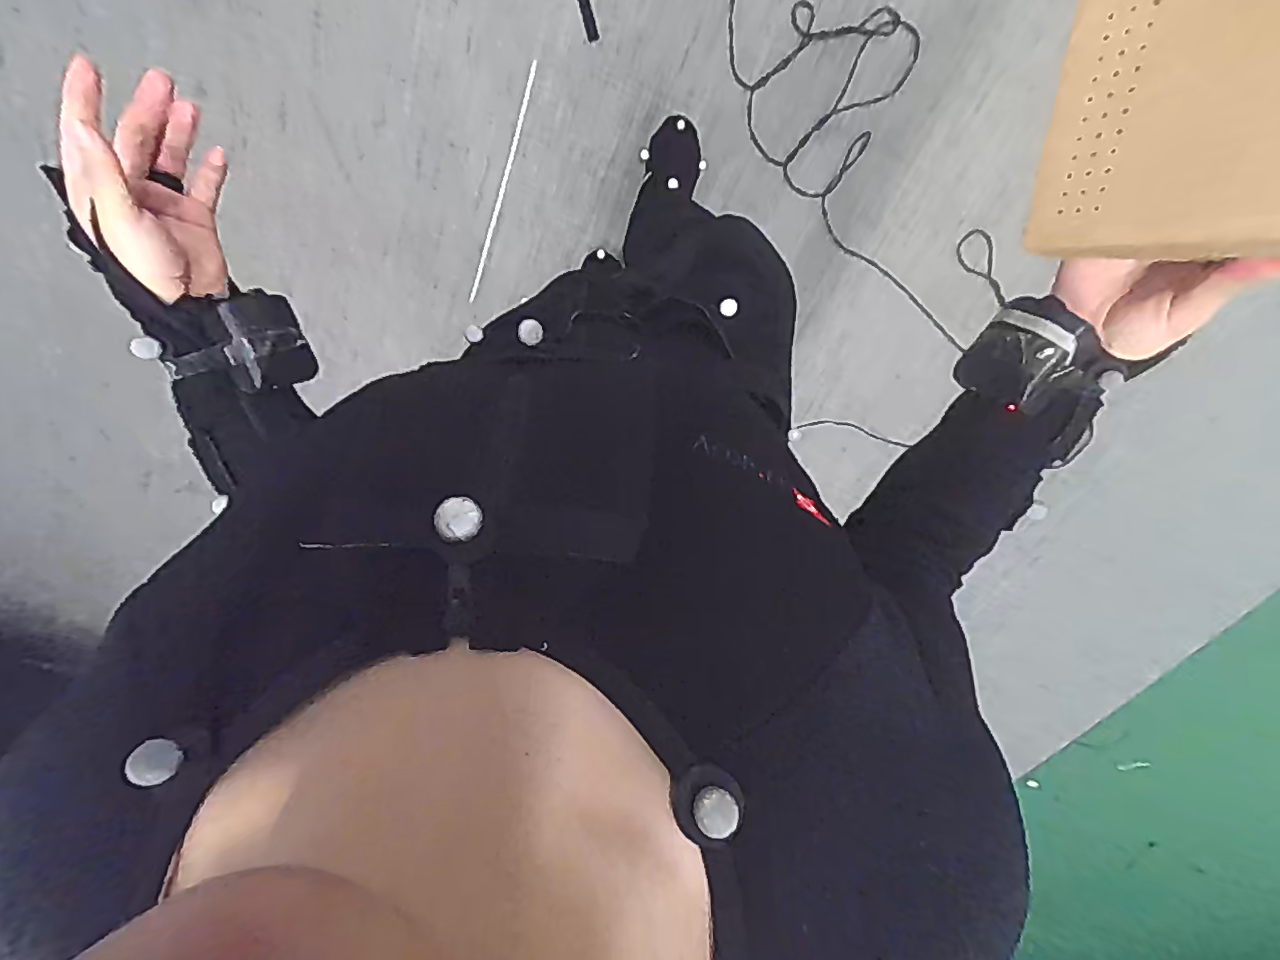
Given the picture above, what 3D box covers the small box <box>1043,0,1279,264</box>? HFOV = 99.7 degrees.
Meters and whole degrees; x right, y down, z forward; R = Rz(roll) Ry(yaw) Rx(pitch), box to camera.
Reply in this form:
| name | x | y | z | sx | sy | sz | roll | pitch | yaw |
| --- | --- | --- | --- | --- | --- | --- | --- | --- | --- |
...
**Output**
| name | x | y | z | sx | sy | sz | roll | pitch | yaw |
| --- | --- | --- | --- | --- | --- | --- | --- | --- | --- |
| small box | 0.276 | -0.168 | 0.173 | 0.168 | 0.176 | 0.179 | -9 | 112 | -22 |
